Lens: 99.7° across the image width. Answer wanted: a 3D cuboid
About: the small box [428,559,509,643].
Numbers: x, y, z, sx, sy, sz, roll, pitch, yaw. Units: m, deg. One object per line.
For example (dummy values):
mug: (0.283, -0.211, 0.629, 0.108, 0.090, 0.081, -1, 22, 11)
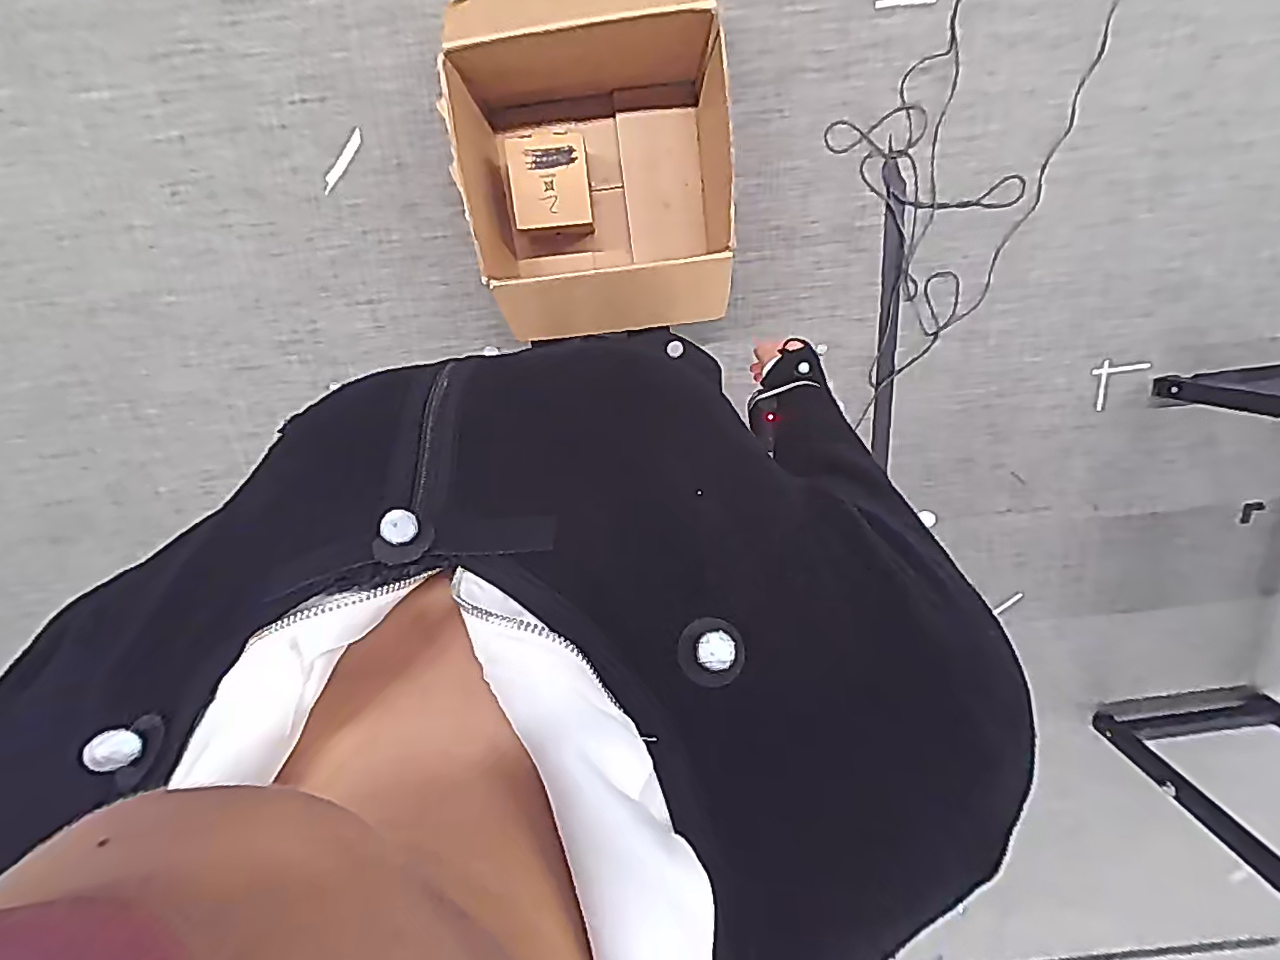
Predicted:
small box: (-0.461, 0.326, 1.484, 0.179, 0.176, 0.168, -2, 109, -3)
